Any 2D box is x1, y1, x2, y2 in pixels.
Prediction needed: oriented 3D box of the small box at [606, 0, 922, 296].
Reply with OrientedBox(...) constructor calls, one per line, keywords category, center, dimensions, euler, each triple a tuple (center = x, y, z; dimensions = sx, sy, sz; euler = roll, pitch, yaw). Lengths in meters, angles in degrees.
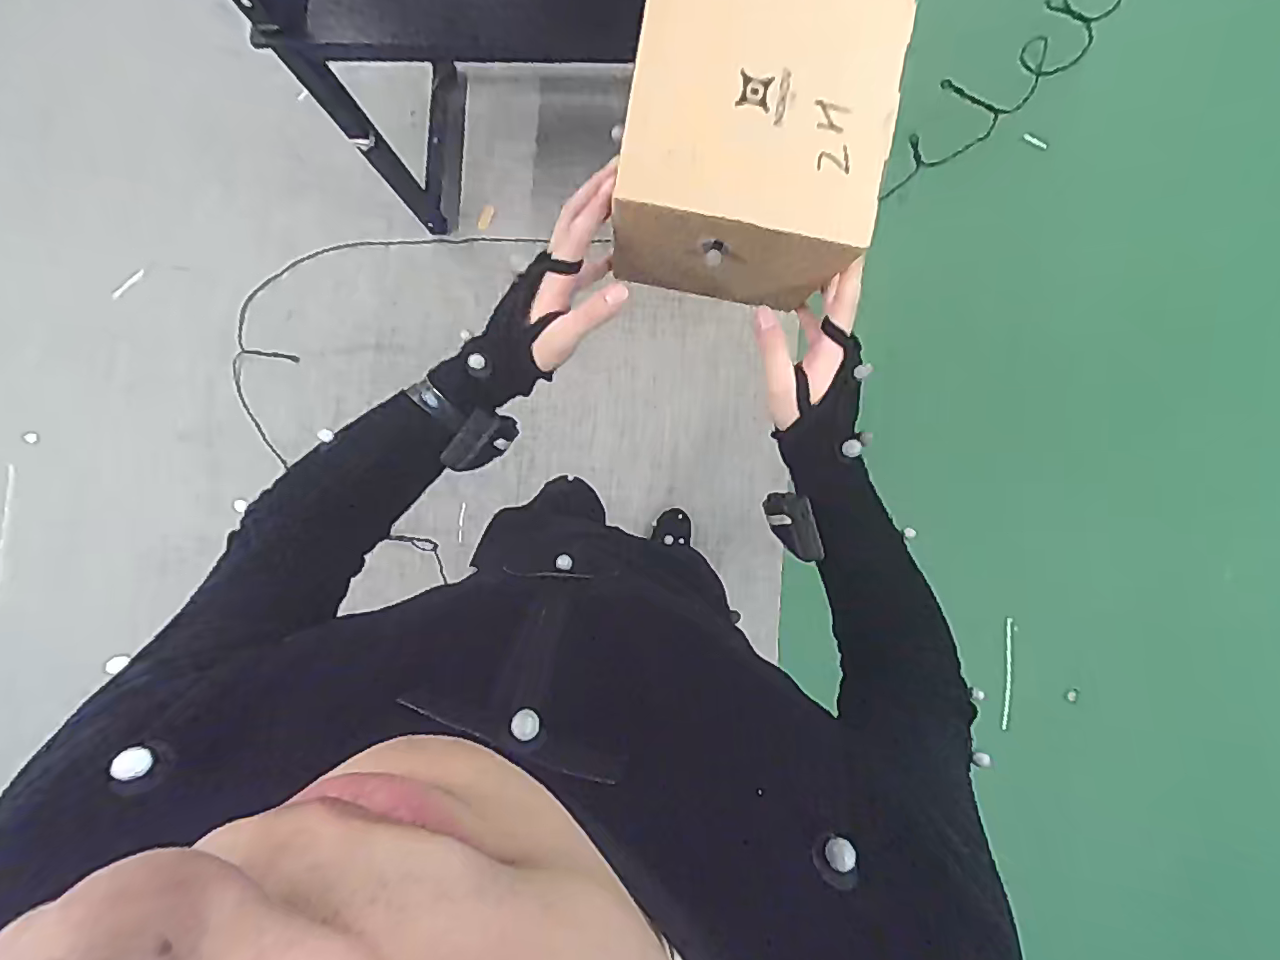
OrientedBox(category="small box", center=(0.076, -0.255, 0.415), dimensions=(0.179, 0.176, 0.168), euler=(10, 94, -3))
